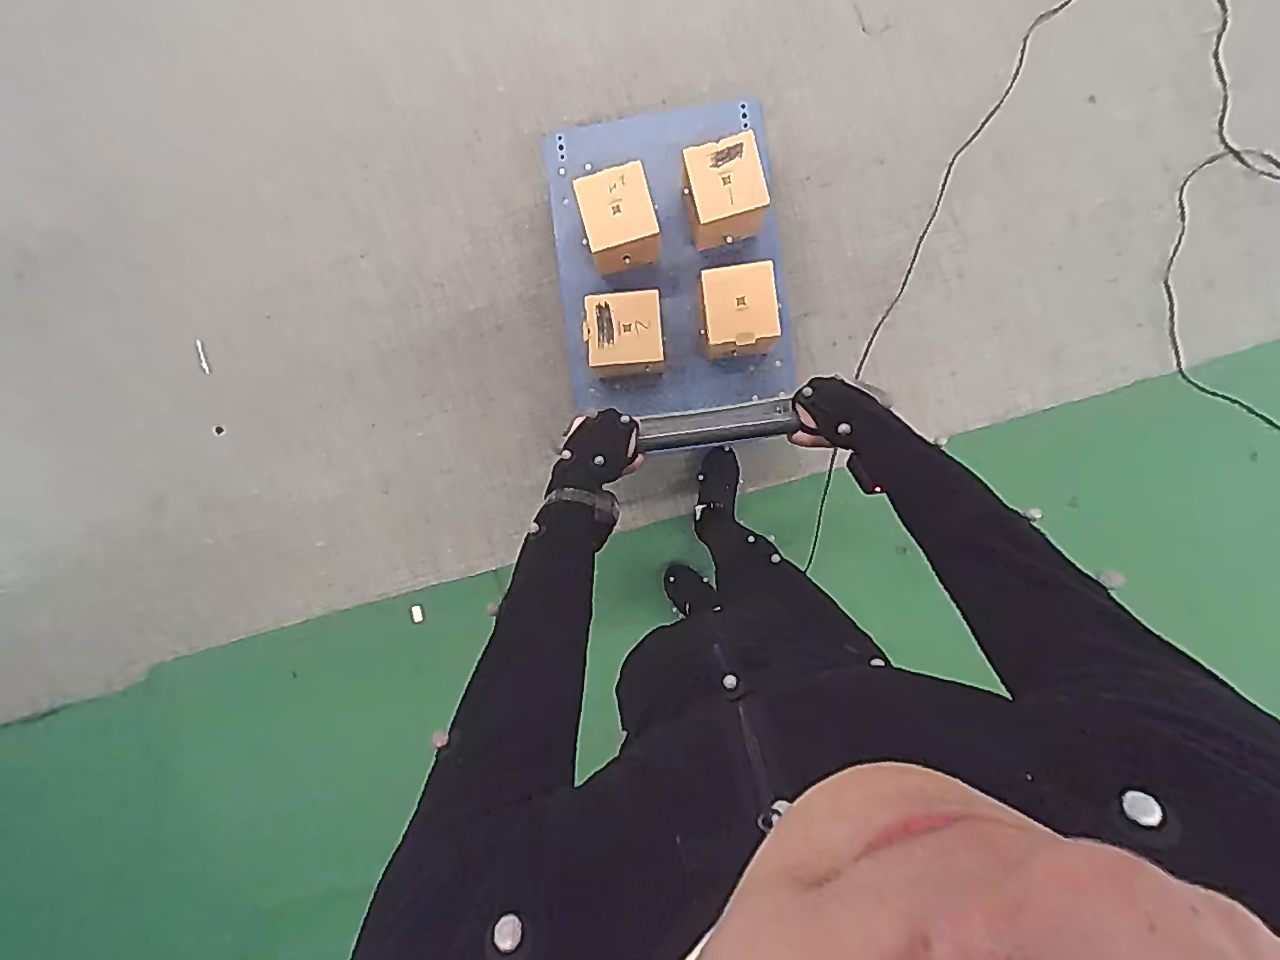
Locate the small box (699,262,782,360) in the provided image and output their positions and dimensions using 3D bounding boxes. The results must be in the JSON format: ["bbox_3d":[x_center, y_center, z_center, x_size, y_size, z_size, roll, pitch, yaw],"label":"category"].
[{"bbox_3d":[0.238,-0.404,1.316,0.168,0.176,0.179,-8,92,3],"label":"small box"}]

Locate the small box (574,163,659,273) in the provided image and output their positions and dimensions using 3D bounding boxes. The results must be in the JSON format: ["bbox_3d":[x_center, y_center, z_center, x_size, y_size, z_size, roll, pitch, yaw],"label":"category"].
[{"bbox_3d":[-0.050,-0.627,1.323,0.168,0.176,0.179,-15,91,2],"label":"small box"}]

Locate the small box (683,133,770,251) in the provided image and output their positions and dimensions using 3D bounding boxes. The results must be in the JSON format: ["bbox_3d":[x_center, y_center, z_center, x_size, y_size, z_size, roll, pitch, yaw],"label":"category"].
[{"bbox_3d":[0.201,-0.688,1.309,0.168,0.176,0.179,-14,92,4],"label":"small box"}]
